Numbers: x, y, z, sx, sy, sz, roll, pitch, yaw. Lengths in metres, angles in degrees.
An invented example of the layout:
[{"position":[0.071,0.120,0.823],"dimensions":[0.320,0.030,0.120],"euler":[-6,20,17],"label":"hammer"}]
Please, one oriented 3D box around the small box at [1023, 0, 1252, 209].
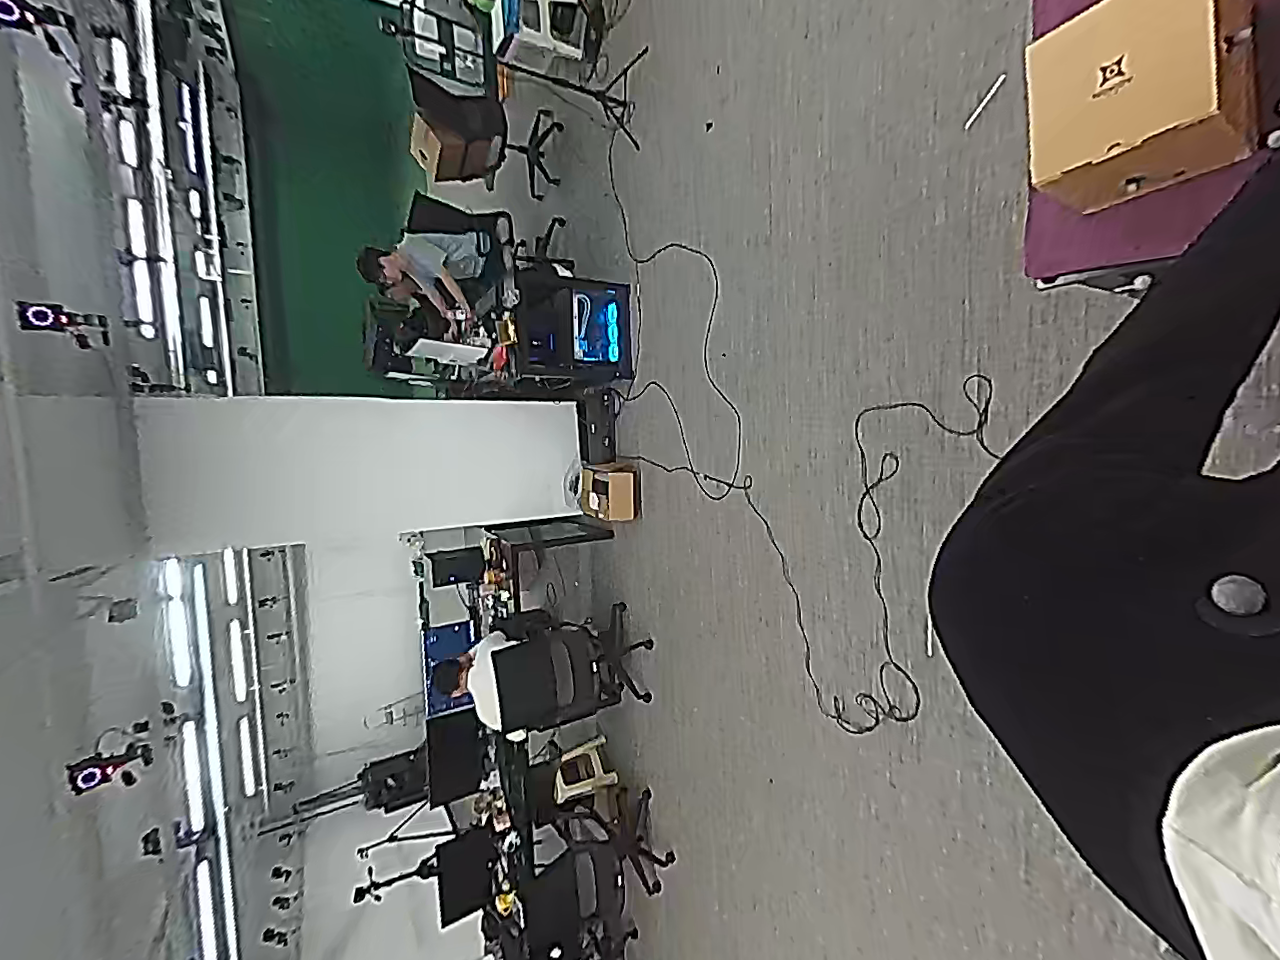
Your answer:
[{"position":[0.591,-0.457,0.647],"dimensions":[0.168,0.176,0.179],"euler":[-3,92,58],"label":"small box"}]
